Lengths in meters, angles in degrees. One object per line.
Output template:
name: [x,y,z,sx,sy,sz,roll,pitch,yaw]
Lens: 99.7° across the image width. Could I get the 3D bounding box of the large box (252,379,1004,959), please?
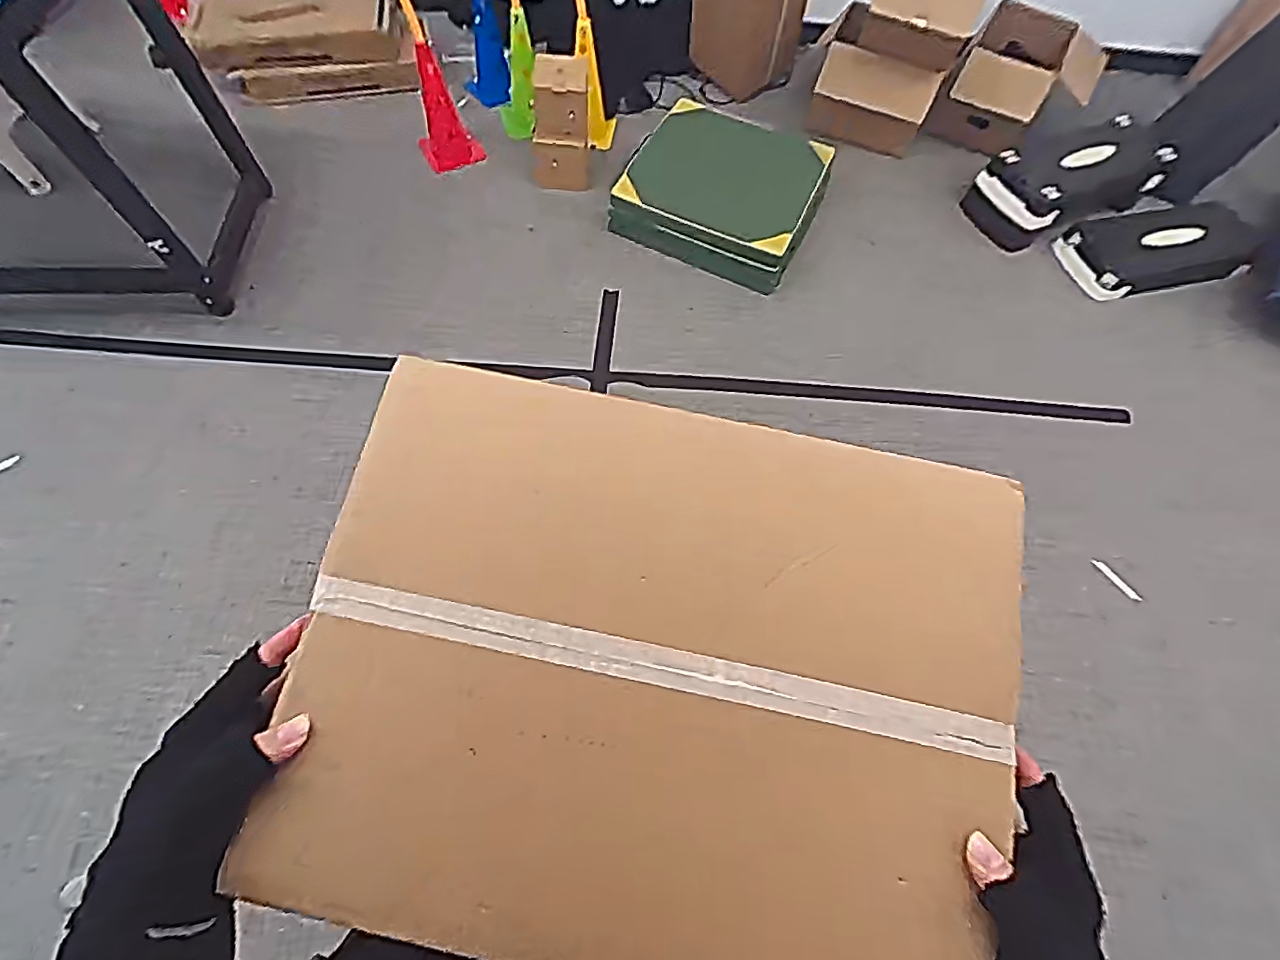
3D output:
large box: [0.009,0.148,0.465,0.408,0.320,0.320,12,77,3]
